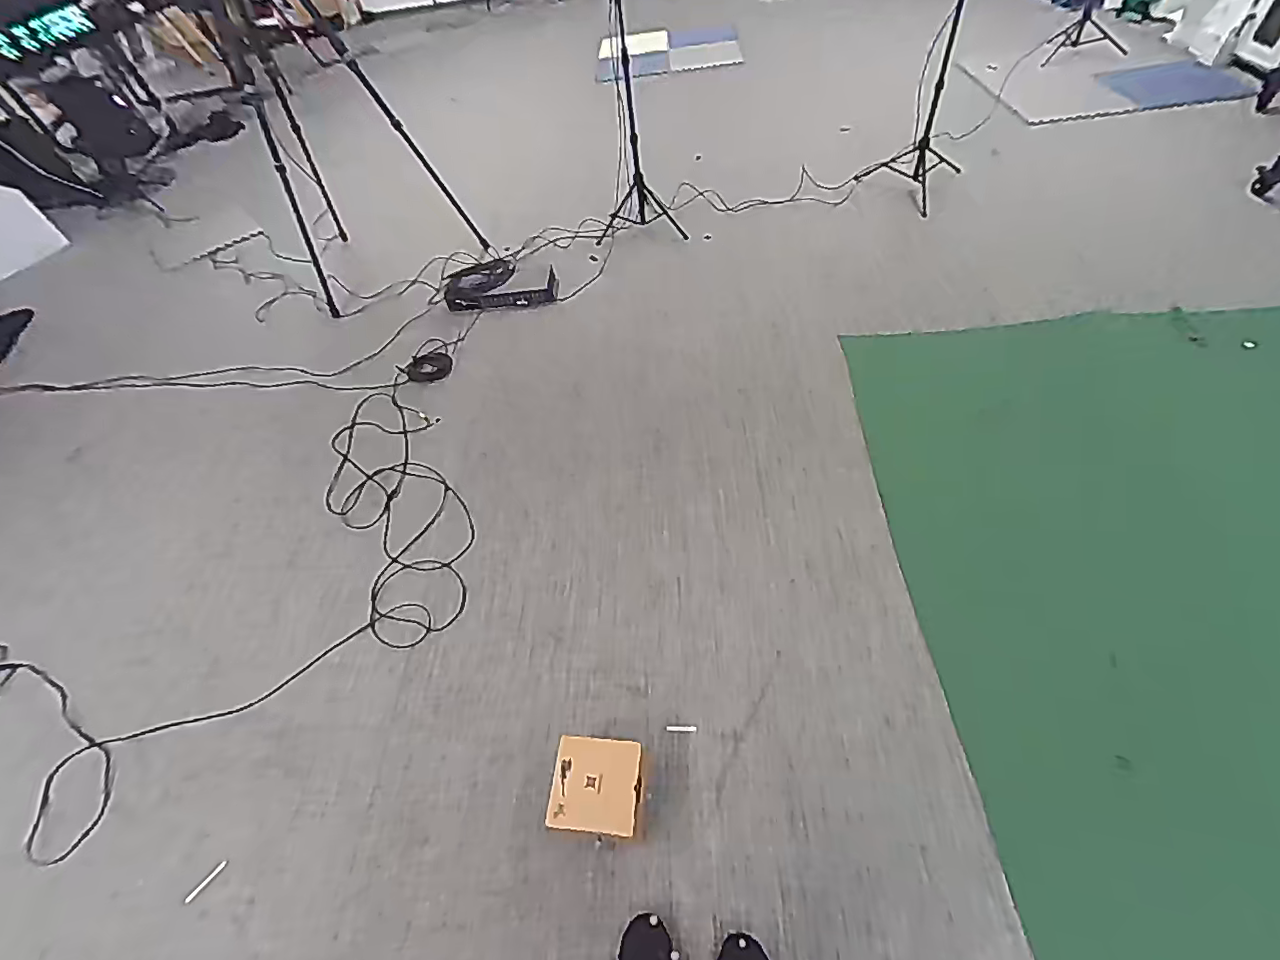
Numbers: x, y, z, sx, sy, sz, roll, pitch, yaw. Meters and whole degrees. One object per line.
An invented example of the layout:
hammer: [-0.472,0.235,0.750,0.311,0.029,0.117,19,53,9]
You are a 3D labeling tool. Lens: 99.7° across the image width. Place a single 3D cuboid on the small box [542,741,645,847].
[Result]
small box: [-0.087,0.660,1.132,0.179,0.176,0.168,1,53,8]
